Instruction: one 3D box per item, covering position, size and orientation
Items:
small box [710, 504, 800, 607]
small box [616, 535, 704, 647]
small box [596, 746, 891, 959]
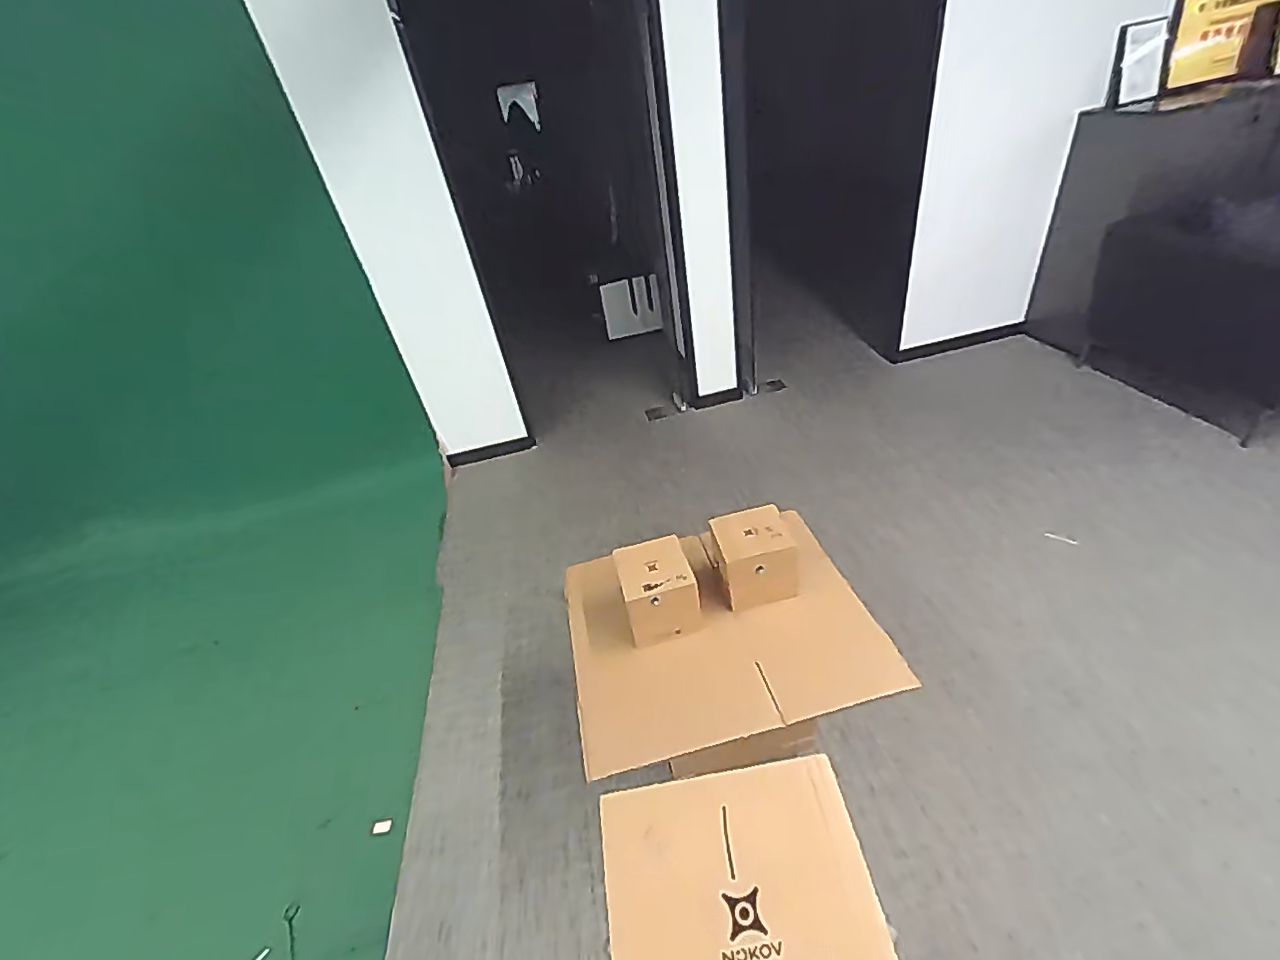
[{"bbox_3d":[0.286,0.190,1.337,0.179,0.176,0.168,-14,35,-1],"label":"small box"},{"bbox_3d":[0.047,0.266,1.299,0.168,0.176,0.179,-15,34,-4],"label":"small box"},{"bbox_3d":[0.070,0.319,0.385,0.168,0.176,0.179,-11,46,0],"label":"small box"}]
